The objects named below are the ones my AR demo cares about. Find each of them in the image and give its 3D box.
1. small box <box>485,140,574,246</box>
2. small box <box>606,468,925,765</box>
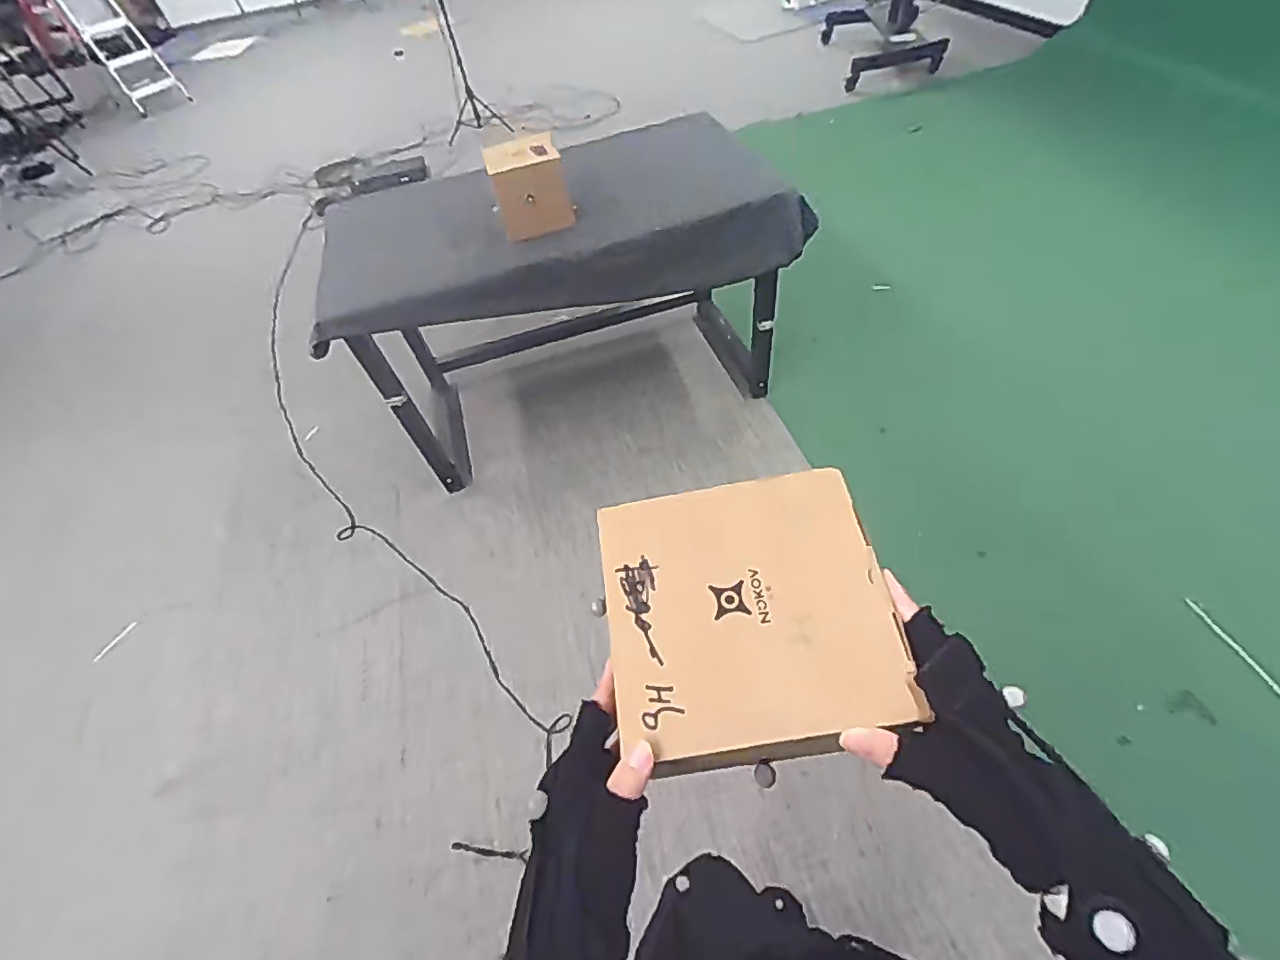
[{"bbox_3d":[-0.273,-0.726,1.373,0.179,0.176,0.168,-19,52,-8],"label":"small box"},{"bbox_3d":[0.076,0.113,0.417,0.179,0.176,0.168,-9,57,1],"label":"small box"}]
